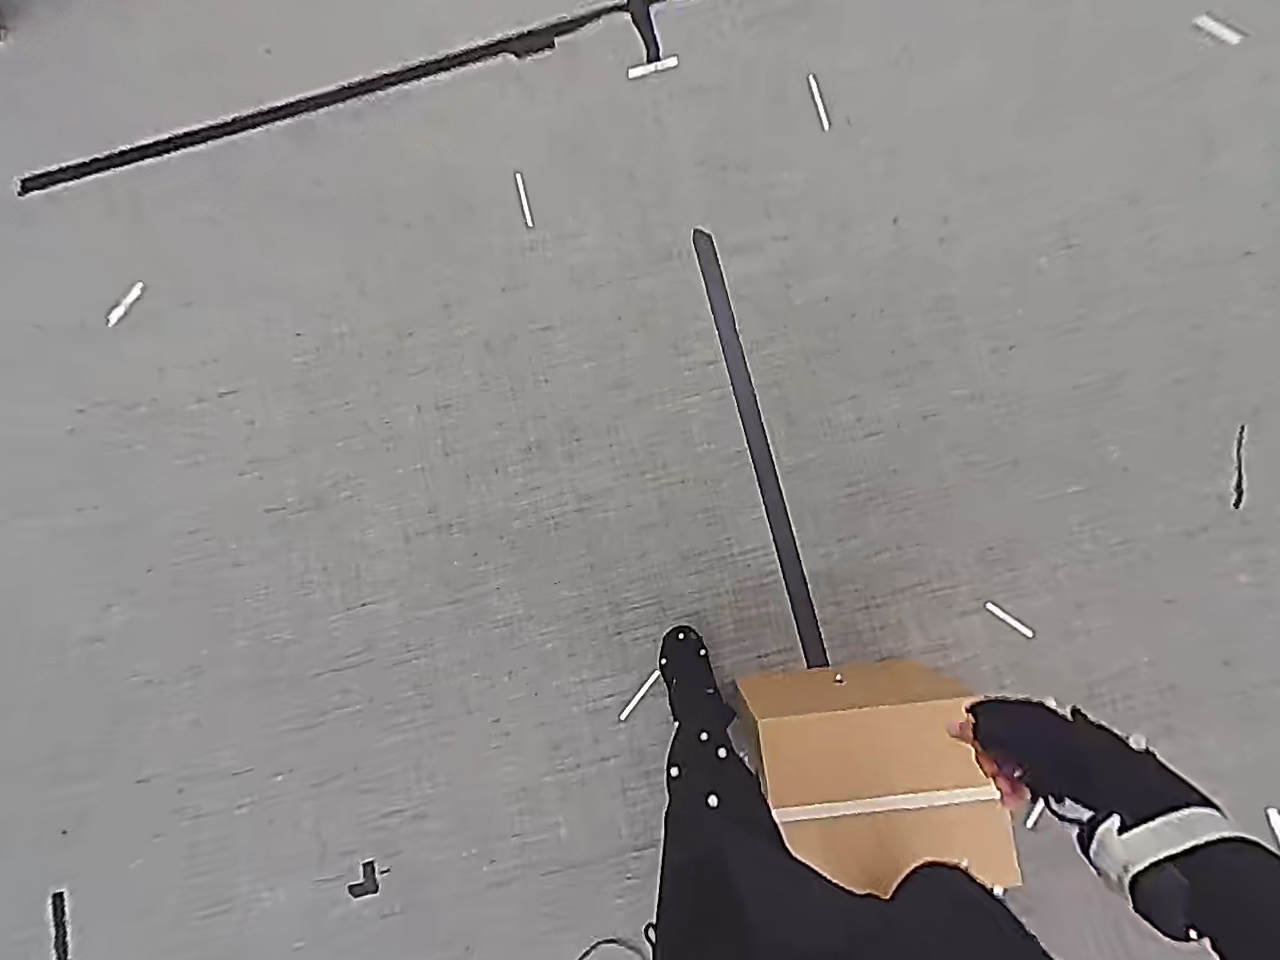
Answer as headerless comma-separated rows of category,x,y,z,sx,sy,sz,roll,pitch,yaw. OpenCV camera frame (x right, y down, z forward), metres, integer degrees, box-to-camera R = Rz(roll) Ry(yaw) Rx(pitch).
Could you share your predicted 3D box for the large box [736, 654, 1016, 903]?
large box,0.432,0.561,1.084,0.408,0.320,0.320,-7,83,1
